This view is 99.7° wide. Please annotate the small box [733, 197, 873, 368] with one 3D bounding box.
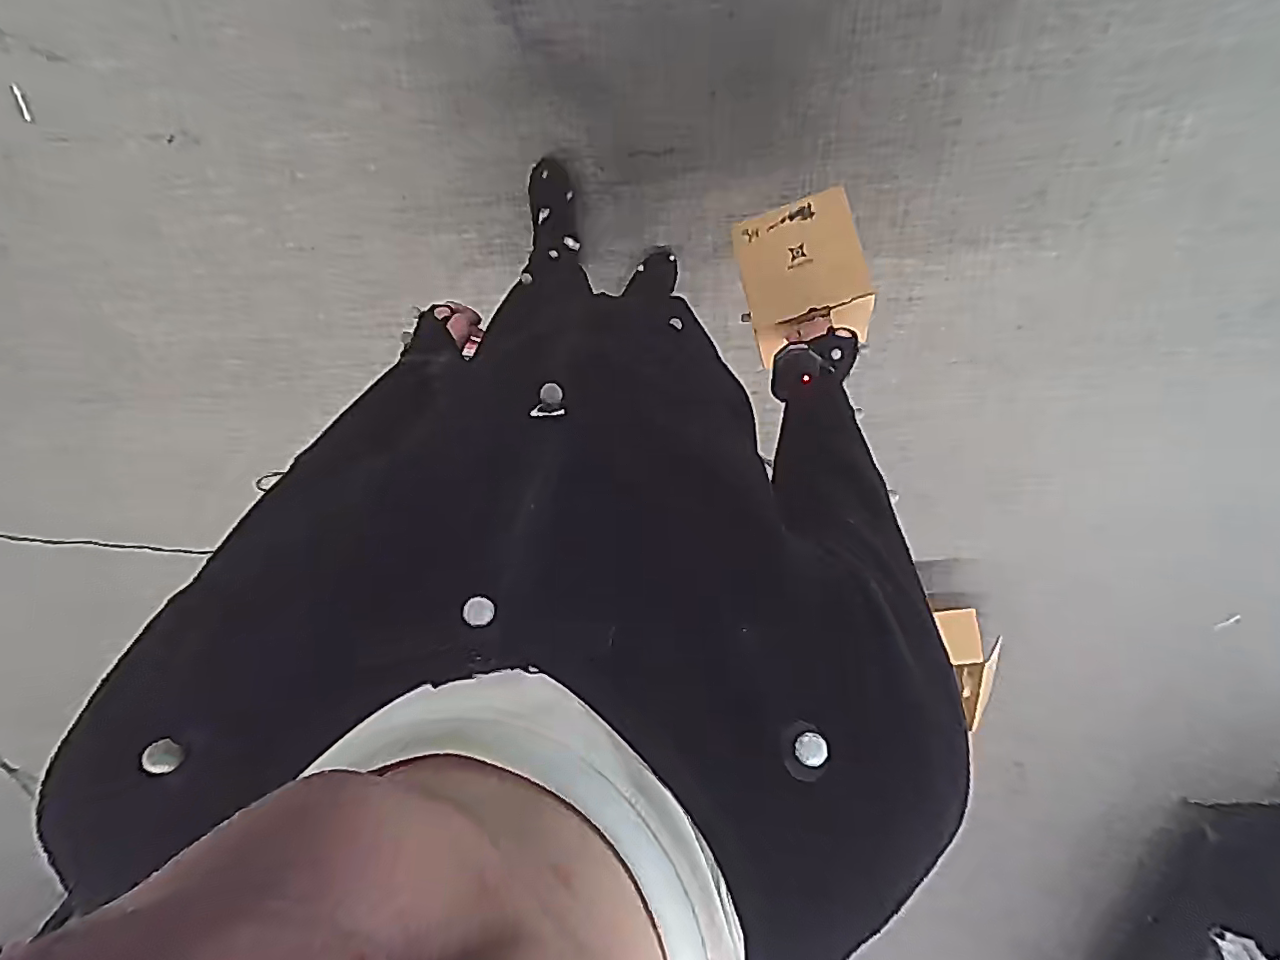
[{"bbox_3d":[0.250,-0.289,0.840,0.168,0.176,0.179,-13,77,15],"label":"small box"}]
